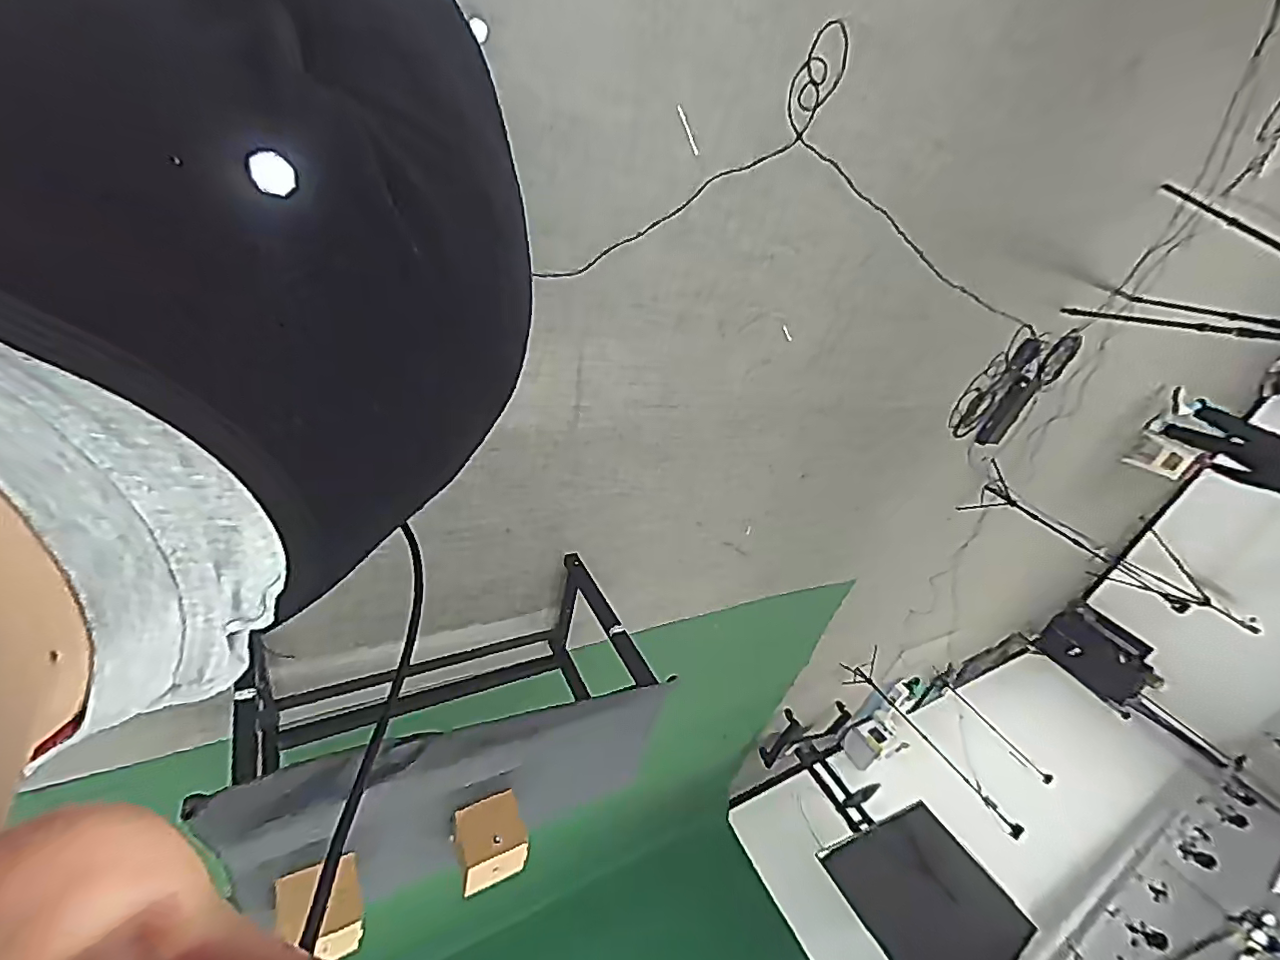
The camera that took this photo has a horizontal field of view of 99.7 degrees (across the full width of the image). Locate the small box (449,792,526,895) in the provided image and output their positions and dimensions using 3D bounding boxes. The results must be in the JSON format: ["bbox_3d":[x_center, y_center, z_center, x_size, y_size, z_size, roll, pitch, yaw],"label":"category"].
[{"bbox_3d":[-0.456,1.069,1.604,0.179,0.176,0.168,-6,125,-31],"label":"small box"}]

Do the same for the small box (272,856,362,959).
[{"bbox_3d":[-0.818,1.099,1.364,0.179,0.176,0.168,-1,123,-36],"label":"small box"}]
